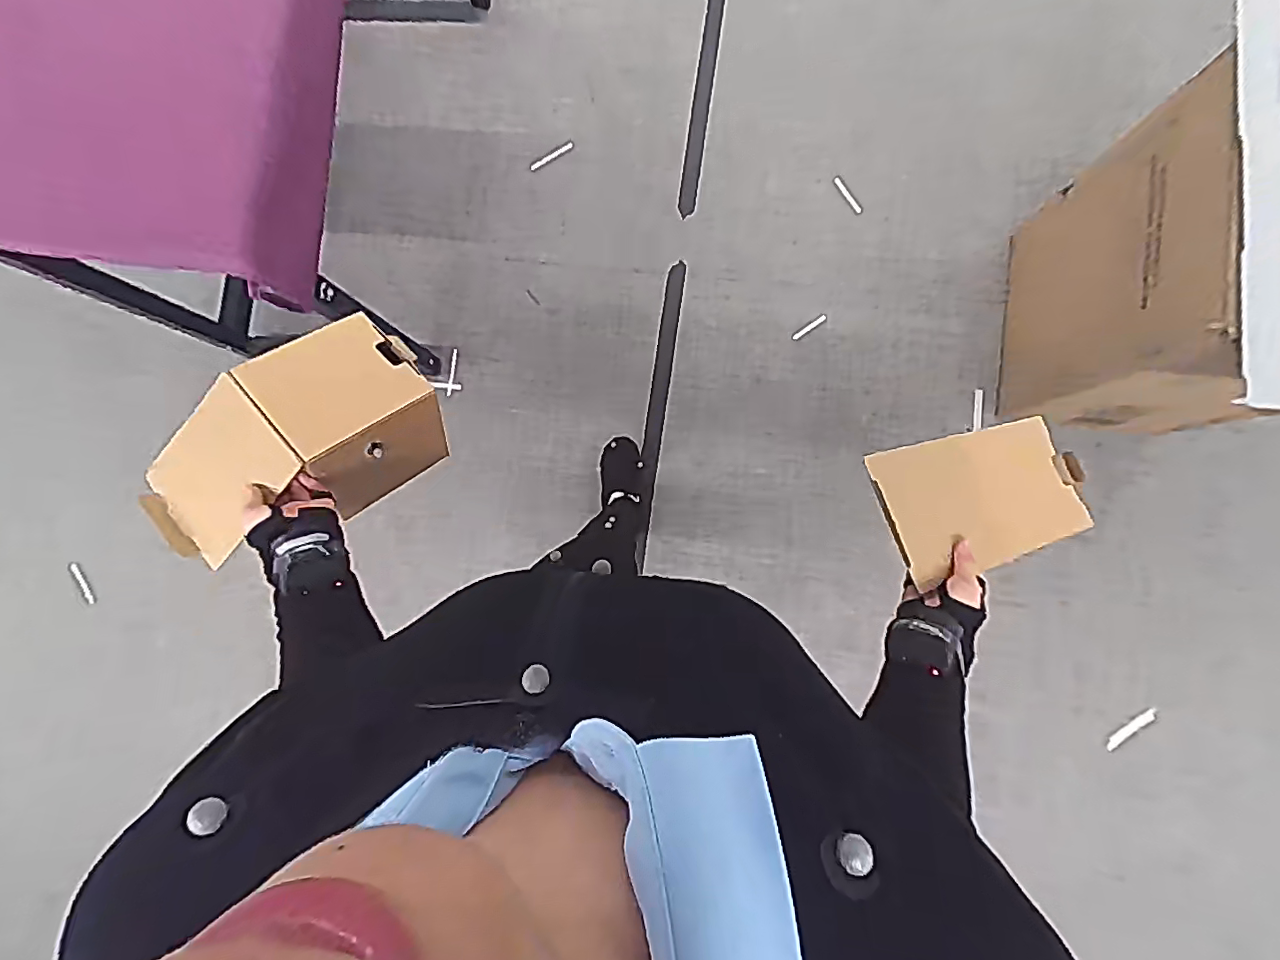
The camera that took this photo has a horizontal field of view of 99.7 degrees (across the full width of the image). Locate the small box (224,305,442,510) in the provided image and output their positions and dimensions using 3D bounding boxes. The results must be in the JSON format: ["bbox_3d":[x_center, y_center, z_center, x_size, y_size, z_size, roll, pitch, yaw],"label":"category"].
[{"bbox_3d":[-0.389,-0.090,0.721,0.179,0.176,0.168,-38,77,-28],"label":"small box"}]
